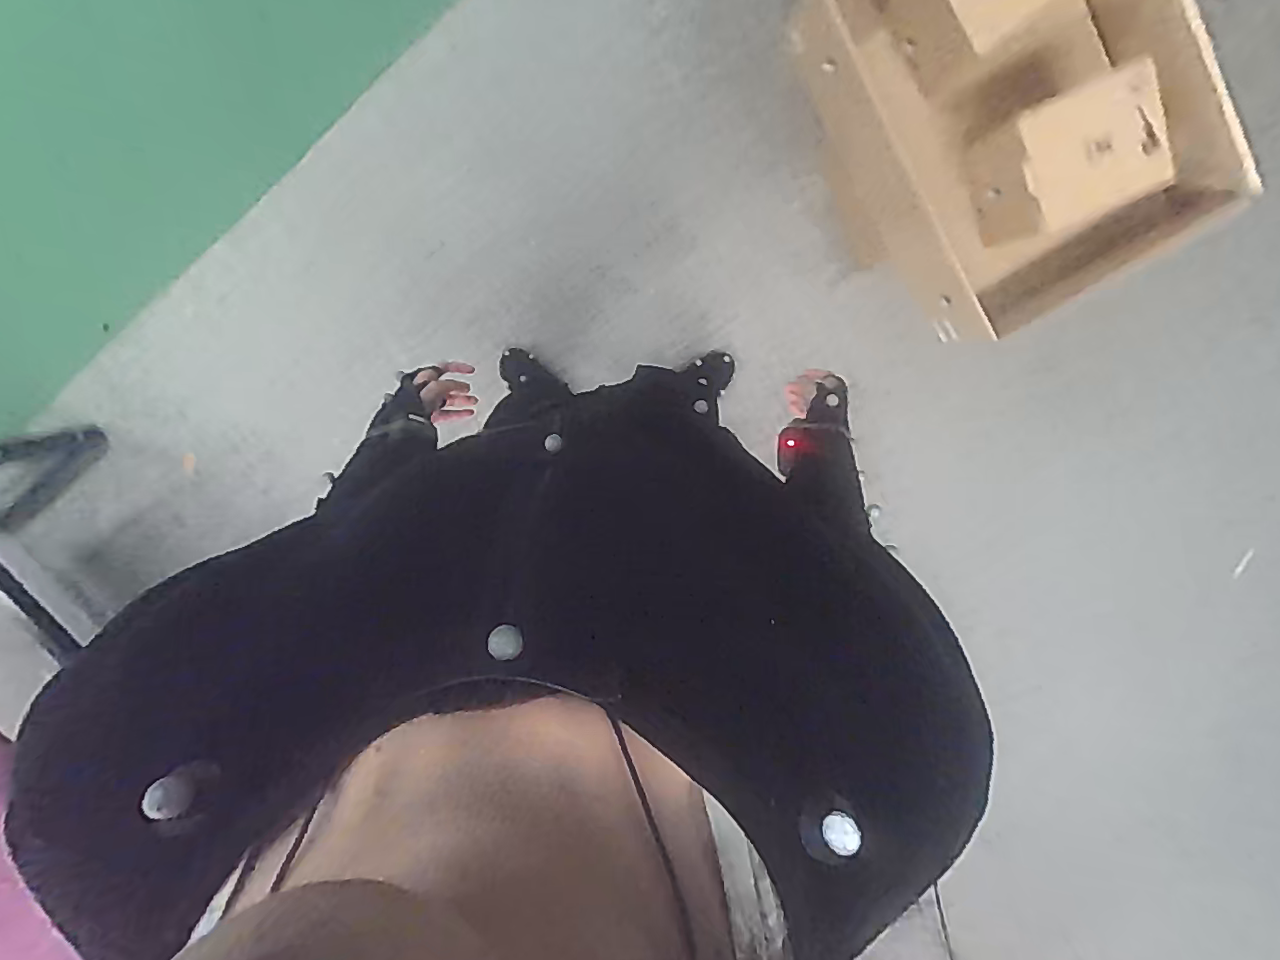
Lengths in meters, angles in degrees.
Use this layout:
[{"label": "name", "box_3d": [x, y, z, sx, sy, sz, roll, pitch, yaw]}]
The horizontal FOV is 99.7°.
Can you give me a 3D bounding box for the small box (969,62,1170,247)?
[{"label": "small box", "box_3d": [0.635, -0.476, 0.827, 0.179, 0.176, 0.168, -20, 103, 10]}]
